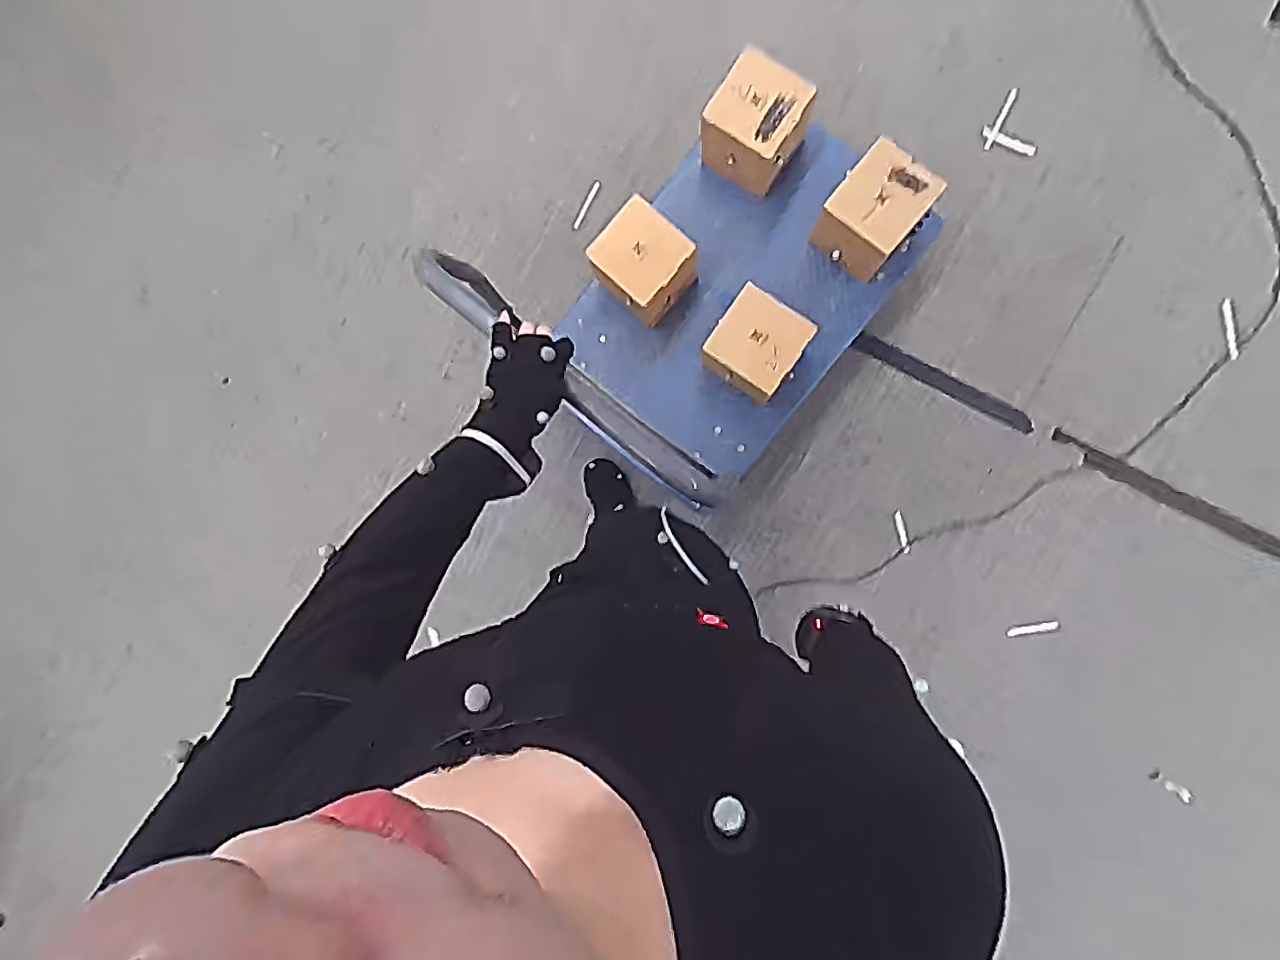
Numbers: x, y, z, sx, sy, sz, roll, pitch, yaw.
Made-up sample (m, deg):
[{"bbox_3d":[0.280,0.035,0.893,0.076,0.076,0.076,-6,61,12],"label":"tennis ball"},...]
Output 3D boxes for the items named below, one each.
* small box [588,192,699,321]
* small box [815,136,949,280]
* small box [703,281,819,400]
[{"bbox_3d":[0.011,-0.483,1.201,0.179,0.176,0.168,43,94,2],"label":"small box"},{"bbox_3d":[0.496,-0.563,1.143,0.168,0.176,0.179,41,96,5],"label":"small box"},{"bbox_3d":[0.253,-0.291,1.176,0.179,0.176,0.168,36,95,5],"label":"small box"}]
